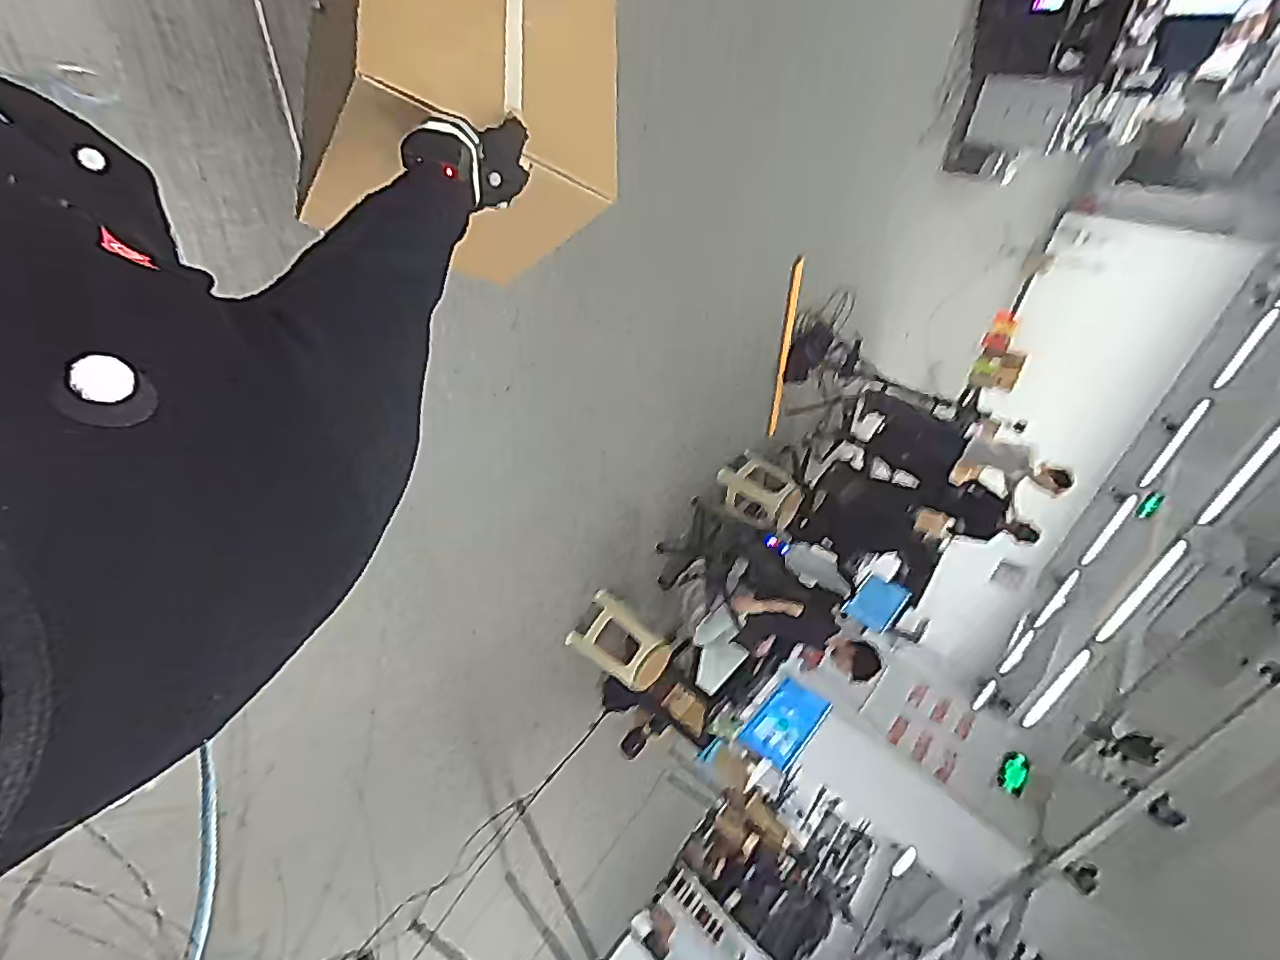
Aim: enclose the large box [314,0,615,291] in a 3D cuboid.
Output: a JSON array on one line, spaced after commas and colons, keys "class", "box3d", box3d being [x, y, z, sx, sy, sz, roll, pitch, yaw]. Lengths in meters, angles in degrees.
[{"class": "large box", "box3d": [-0.251, -0.543, 0.759, 0.320, 0.320, 0.408, 6, 80, -41]}]
